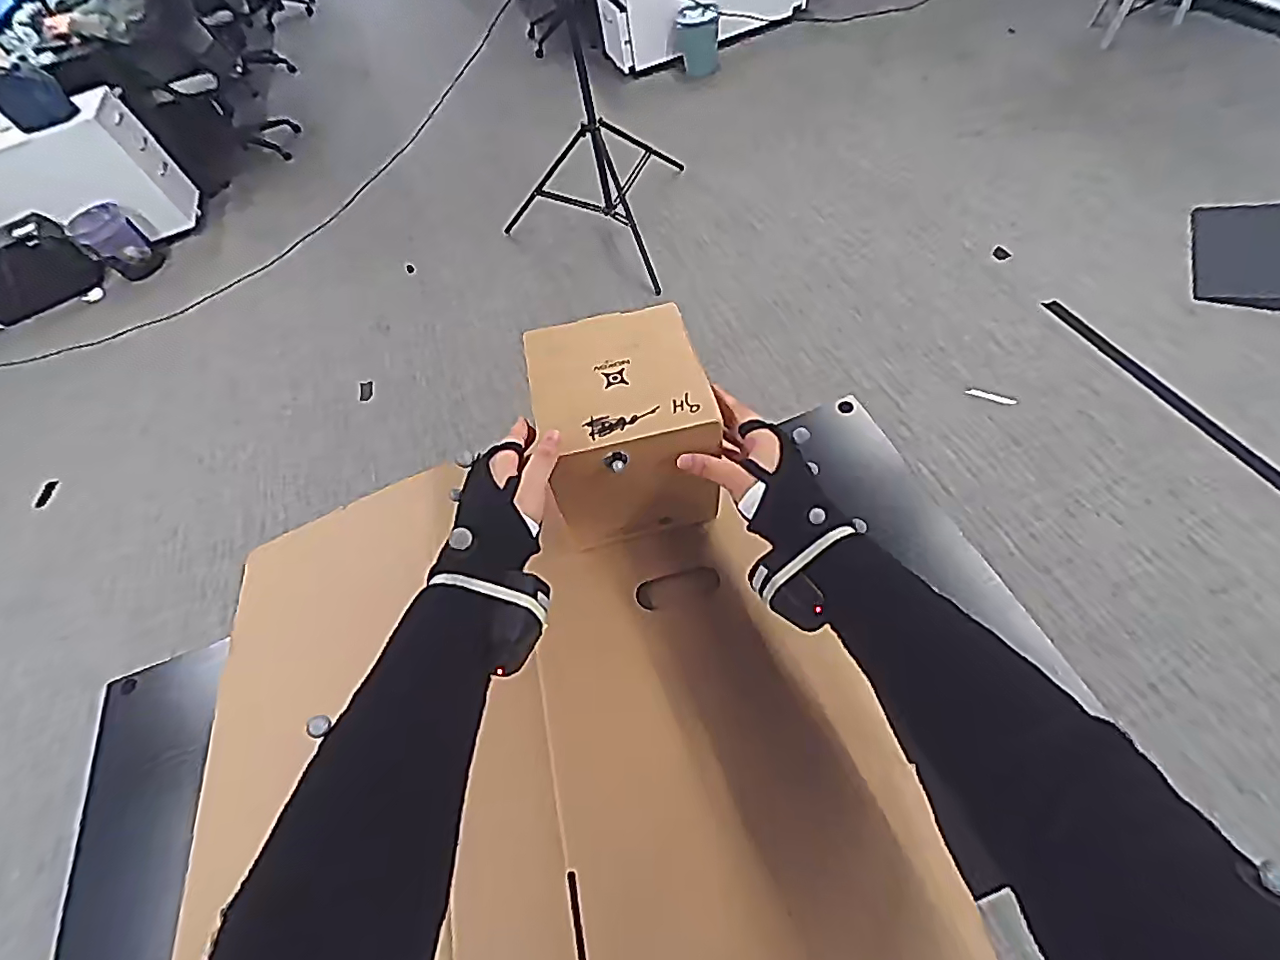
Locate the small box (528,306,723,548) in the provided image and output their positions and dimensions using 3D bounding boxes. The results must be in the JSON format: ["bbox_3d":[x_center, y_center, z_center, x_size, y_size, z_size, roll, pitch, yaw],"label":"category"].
[{"bbox_3d":[-0.016,-0.054,0.583,0.168,0.176,0.179,-13,54,-2],"label":"small box"}]
